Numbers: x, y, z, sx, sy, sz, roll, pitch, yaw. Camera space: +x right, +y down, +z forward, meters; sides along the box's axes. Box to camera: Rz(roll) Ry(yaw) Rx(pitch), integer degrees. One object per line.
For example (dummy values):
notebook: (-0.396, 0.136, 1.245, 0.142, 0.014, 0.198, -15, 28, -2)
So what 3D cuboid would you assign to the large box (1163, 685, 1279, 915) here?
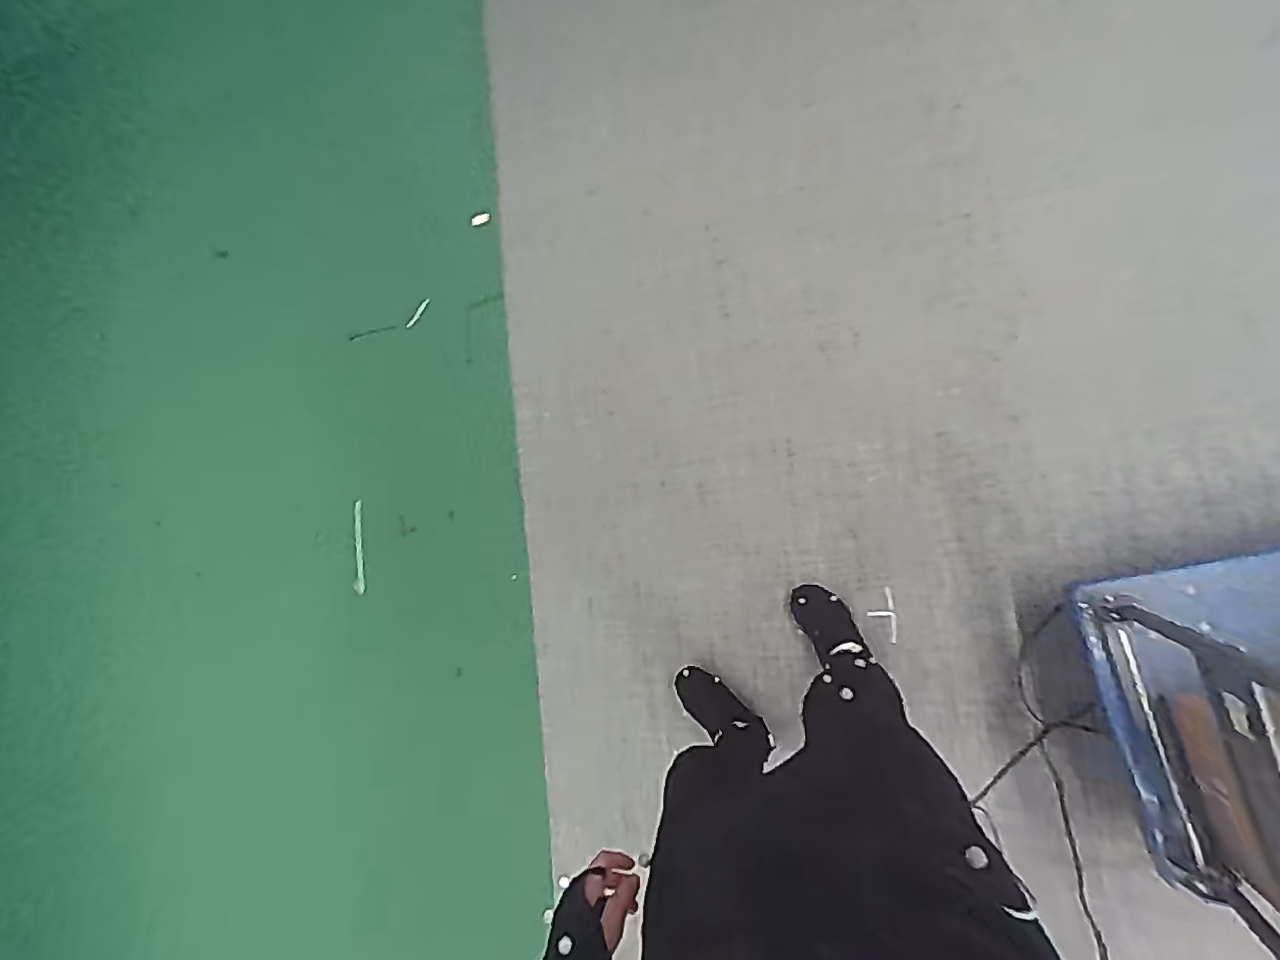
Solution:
large box: (1.142, 0.490, 0.791, 0.408, 0.320, 0.320, -17, 82, 17)
